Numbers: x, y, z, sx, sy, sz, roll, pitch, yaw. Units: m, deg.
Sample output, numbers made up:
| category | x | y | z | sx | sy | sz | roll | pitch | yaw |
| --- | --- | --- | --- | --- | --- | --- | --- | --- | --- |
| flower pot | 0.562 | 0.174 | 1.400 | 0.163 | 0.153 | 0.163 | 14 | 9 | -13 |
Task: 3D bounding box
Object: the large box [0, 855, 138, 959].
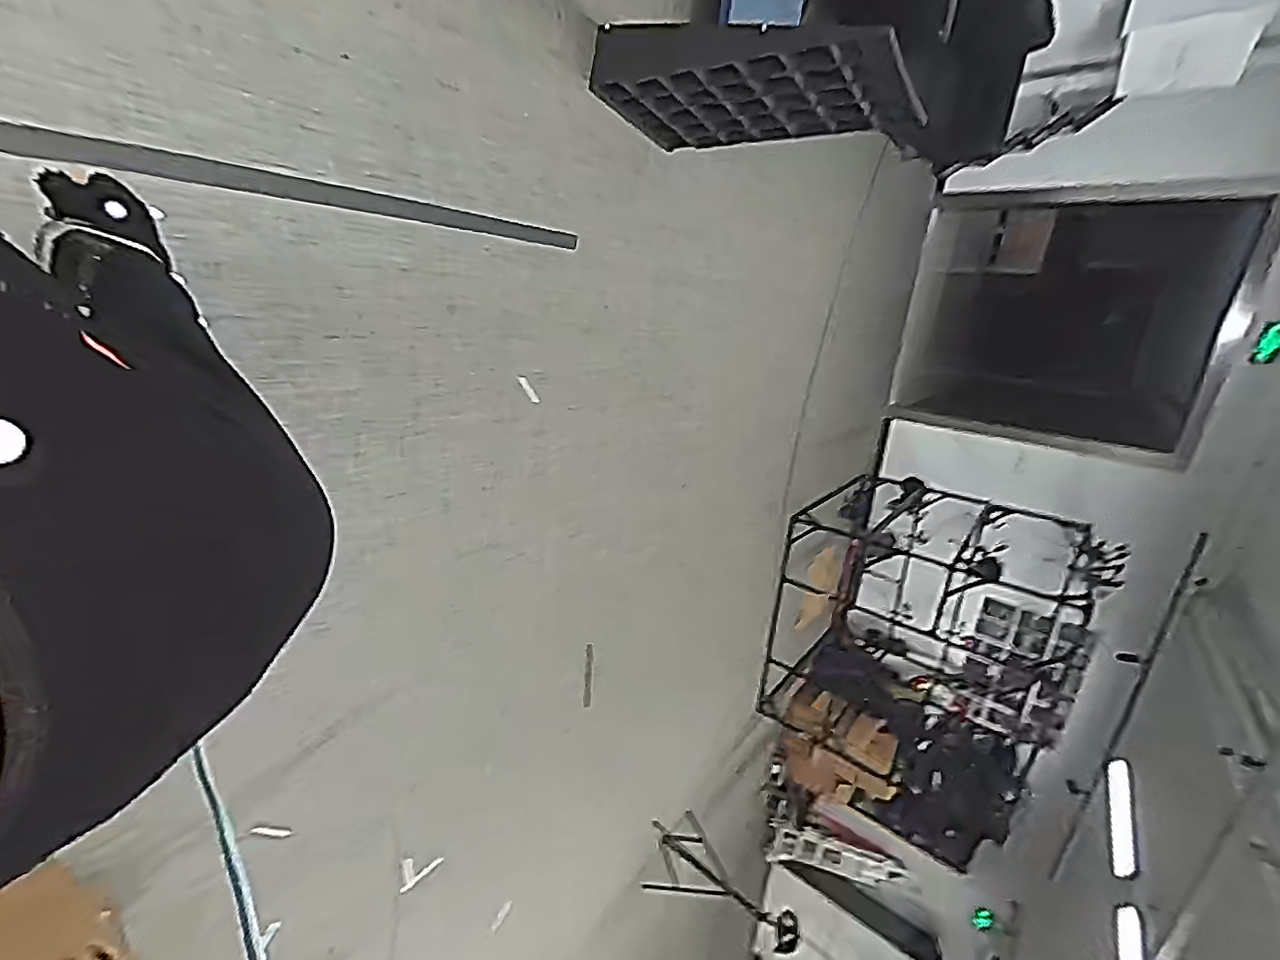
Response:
| category | x | y | z | sx | sy | sz | roll | pitch | yaw |
| --- | --- | --- | --- | --- | --- | --- | --- | --- | --- |
| large box | -1.328 | 1.081 | 1.071 | 0.408 | 0.320 | 0.320 | -36 | 132 | -40 |
